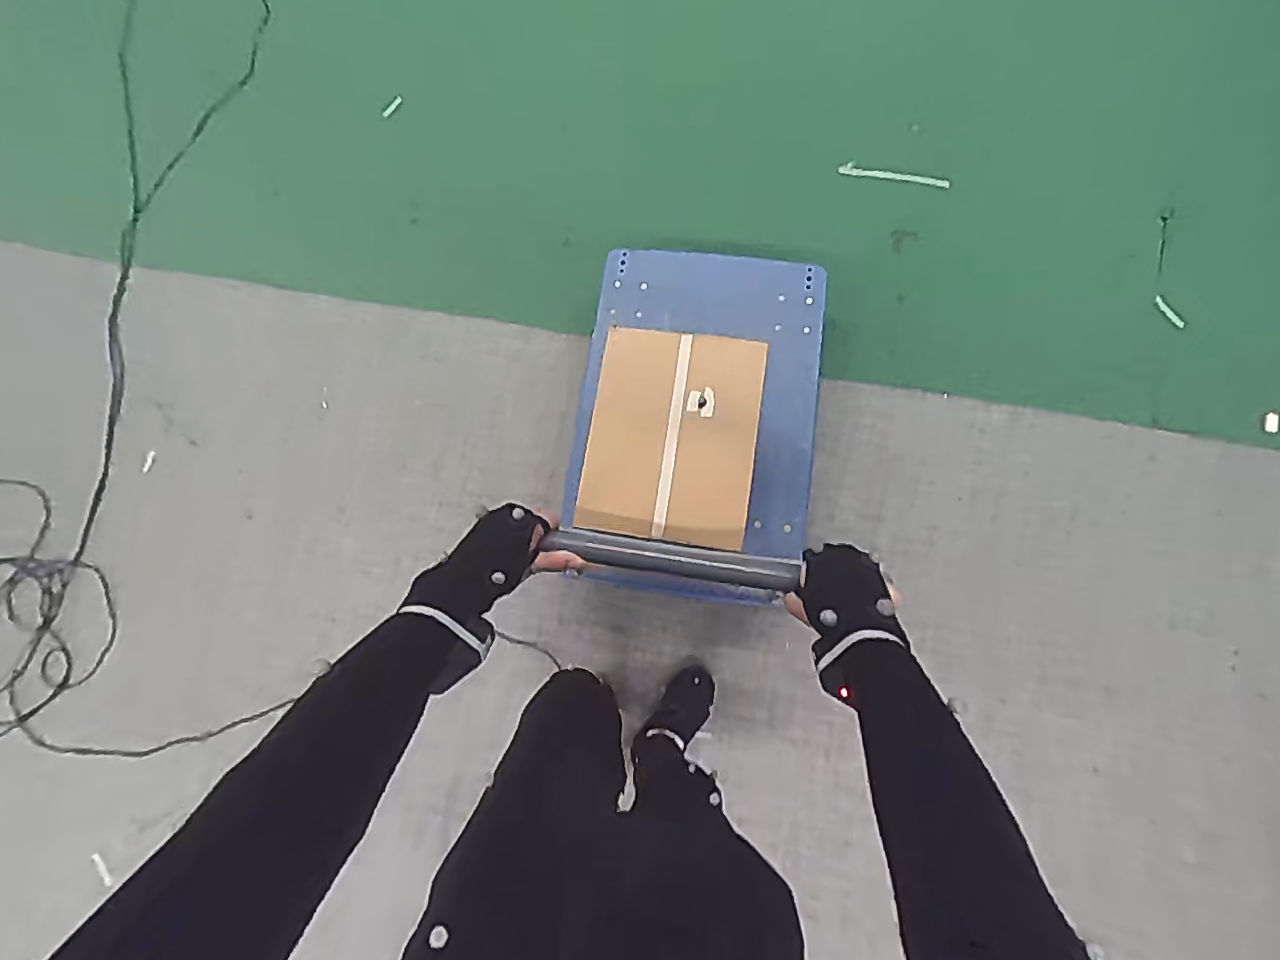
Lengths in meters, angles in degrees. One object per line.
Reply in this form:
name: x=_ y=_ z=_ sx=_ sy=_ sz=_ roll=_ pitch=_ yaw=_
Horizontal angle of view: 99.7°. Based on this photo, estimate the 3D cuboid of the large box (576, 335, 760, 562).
large box: x=0.068 y=-0.048 z=1.170 sx=0.320 sy=0.320 sz=0.408 roll=8 pitch=78 yaw=5
